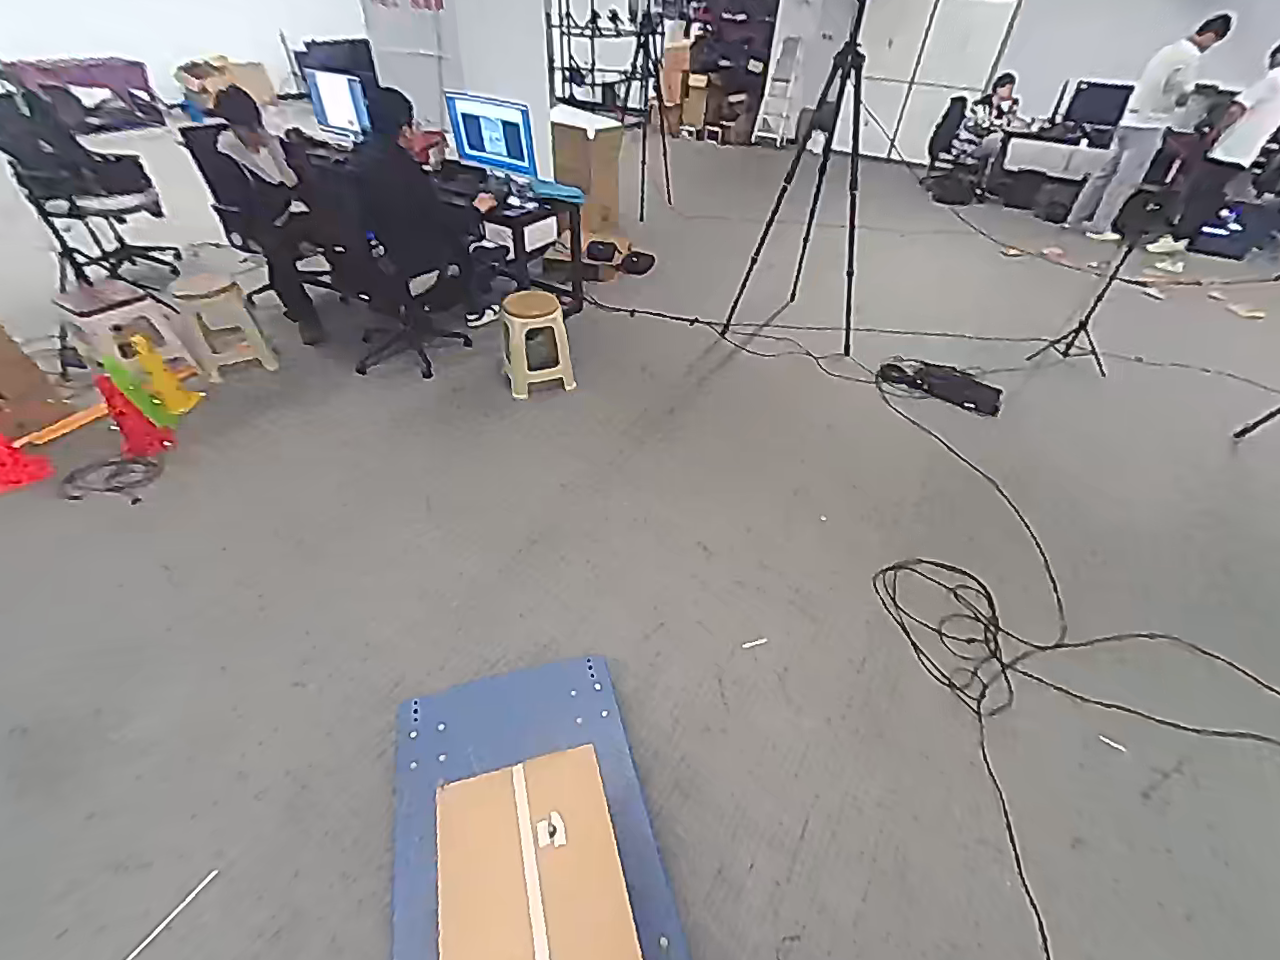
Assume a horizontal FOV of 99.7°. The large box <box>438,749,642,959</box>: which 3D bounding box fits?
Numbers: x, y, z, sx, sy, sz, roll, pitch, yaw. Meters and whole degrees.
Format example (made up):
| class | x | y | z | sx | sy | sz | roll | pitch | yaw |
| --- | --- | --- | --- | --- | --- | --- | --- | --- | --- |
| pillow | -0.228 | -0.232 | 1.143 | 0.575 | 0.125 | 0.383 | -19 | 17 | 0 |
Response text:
| class | x | y | z | sx | sy | sz | roll | pitch | yaw |
| --- | --- | --- | --- | --- | --- | --- | --- | --- | --- |
| large box | -0.196 | 0.825 | 1.051 | 0.320 | 0.320 | 0.408 | -9 | 42 | -15 |
